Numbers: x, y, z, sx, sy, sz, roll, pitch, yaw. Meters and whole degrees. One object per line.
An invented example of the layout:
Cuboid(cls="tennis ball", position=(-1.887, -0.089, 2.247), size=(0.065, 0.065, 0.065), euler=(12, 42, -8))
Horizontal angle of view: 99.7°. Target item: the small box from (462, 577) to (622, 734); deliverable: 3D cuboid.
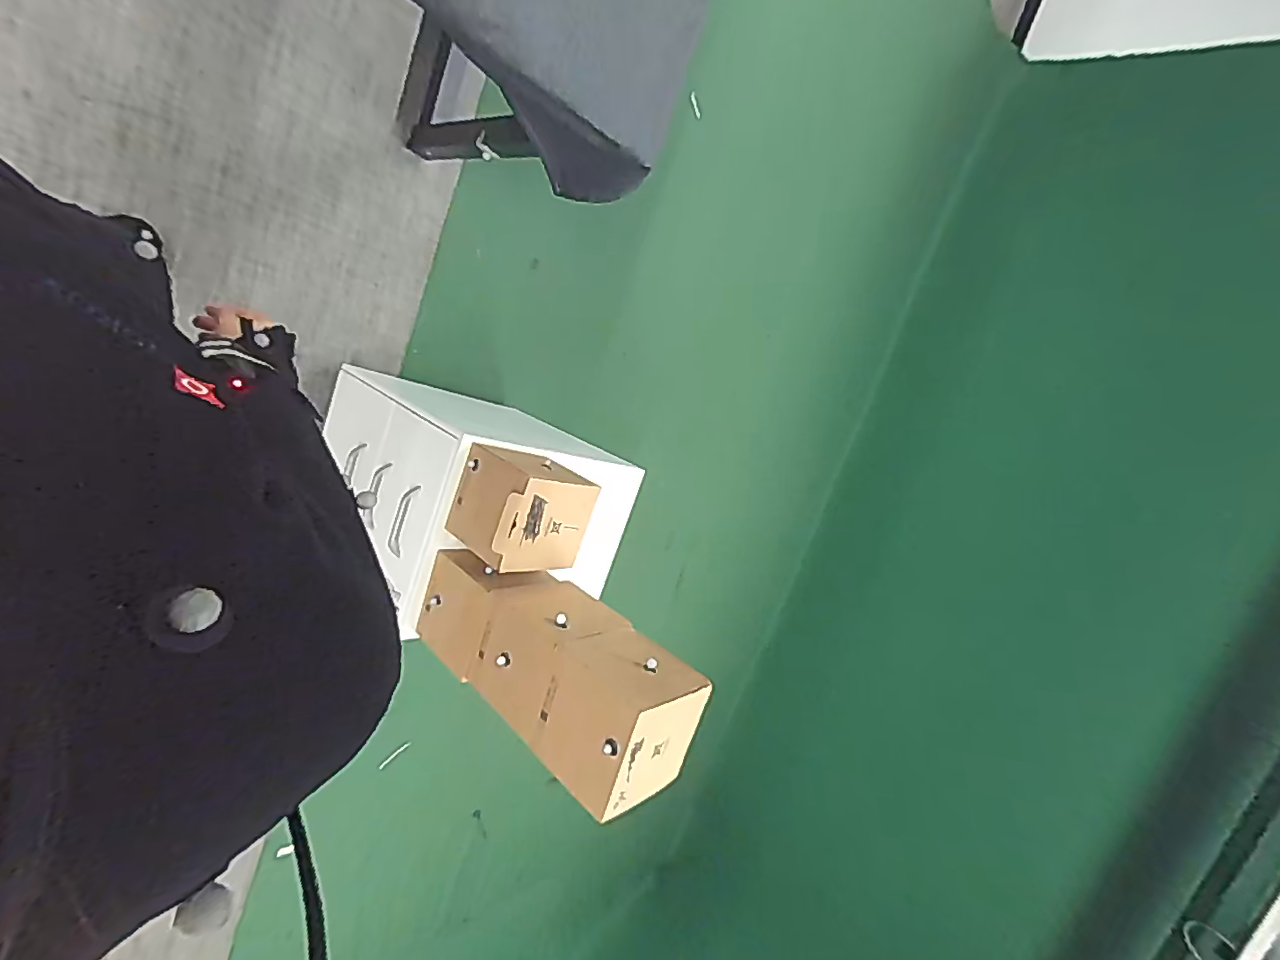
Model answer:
Cuboid(cls="small box", position=(-0.164, 0.275, 0.891), size=(0.179, 0.176, 0.168), euler=(4, 108, -52))

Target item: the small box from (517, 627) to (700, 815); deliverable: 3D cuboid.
Cuboid(cls="small box", position=(-0.046, 0.333, 0.794), size=(0.179, 0.176, 0.168), euler=(7, 105, -53))
